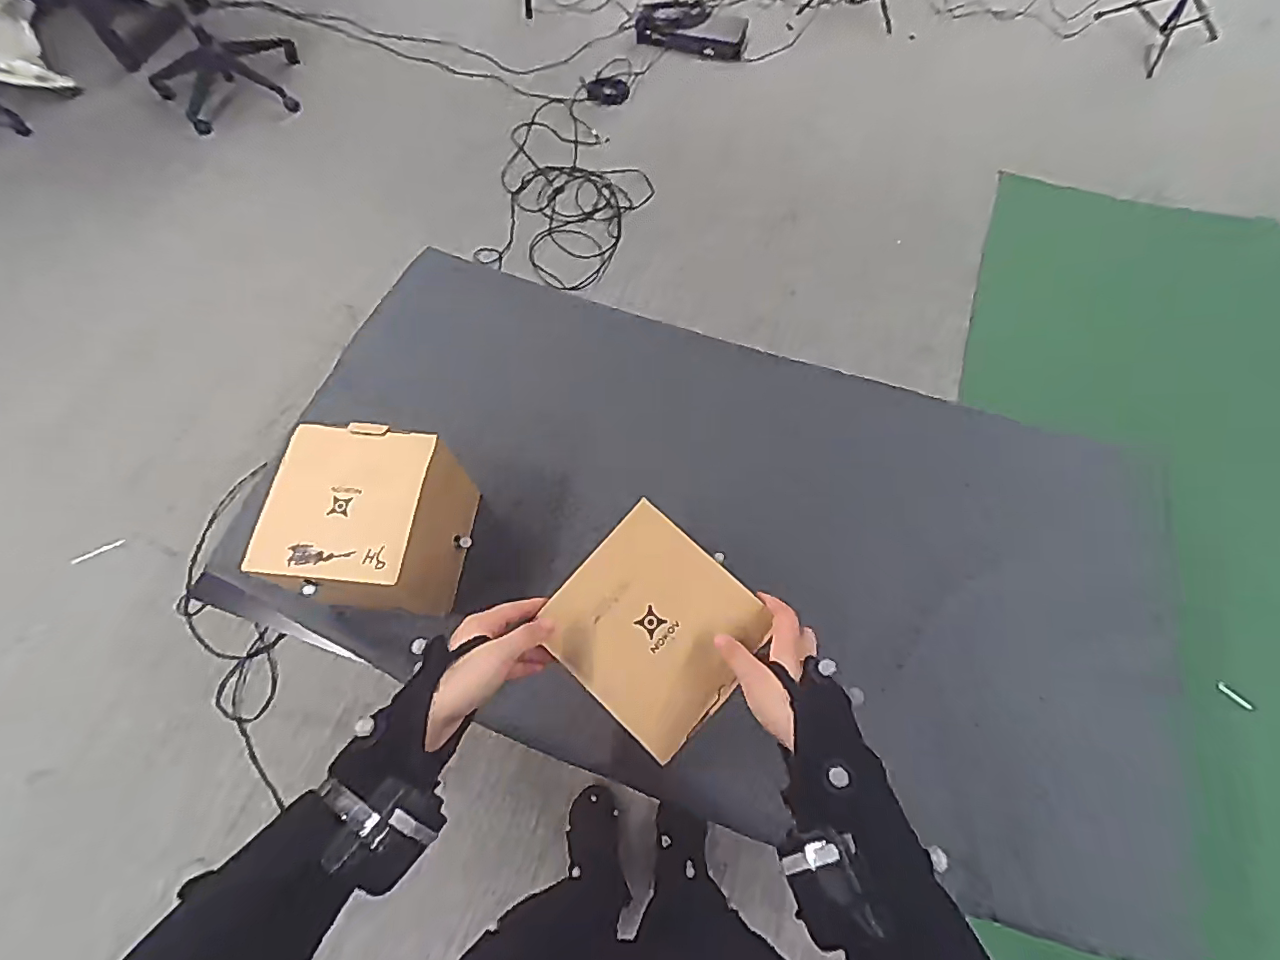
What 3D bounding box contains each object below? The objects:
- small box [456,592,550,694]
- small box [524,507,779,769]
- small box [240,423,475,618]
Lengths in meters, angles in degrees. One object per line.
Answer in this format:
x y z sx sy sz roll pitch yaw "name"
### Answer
-0.302 0.396 1.296 0.168 0.176 0.179 21 67 11 "small box"
0.014 0.154 0.567 0.179 0.176 0.168 41 81 12 "small box"
-0.313 0.054 0.647 0.168 0.176 0.179 5 65 5 "small box"
